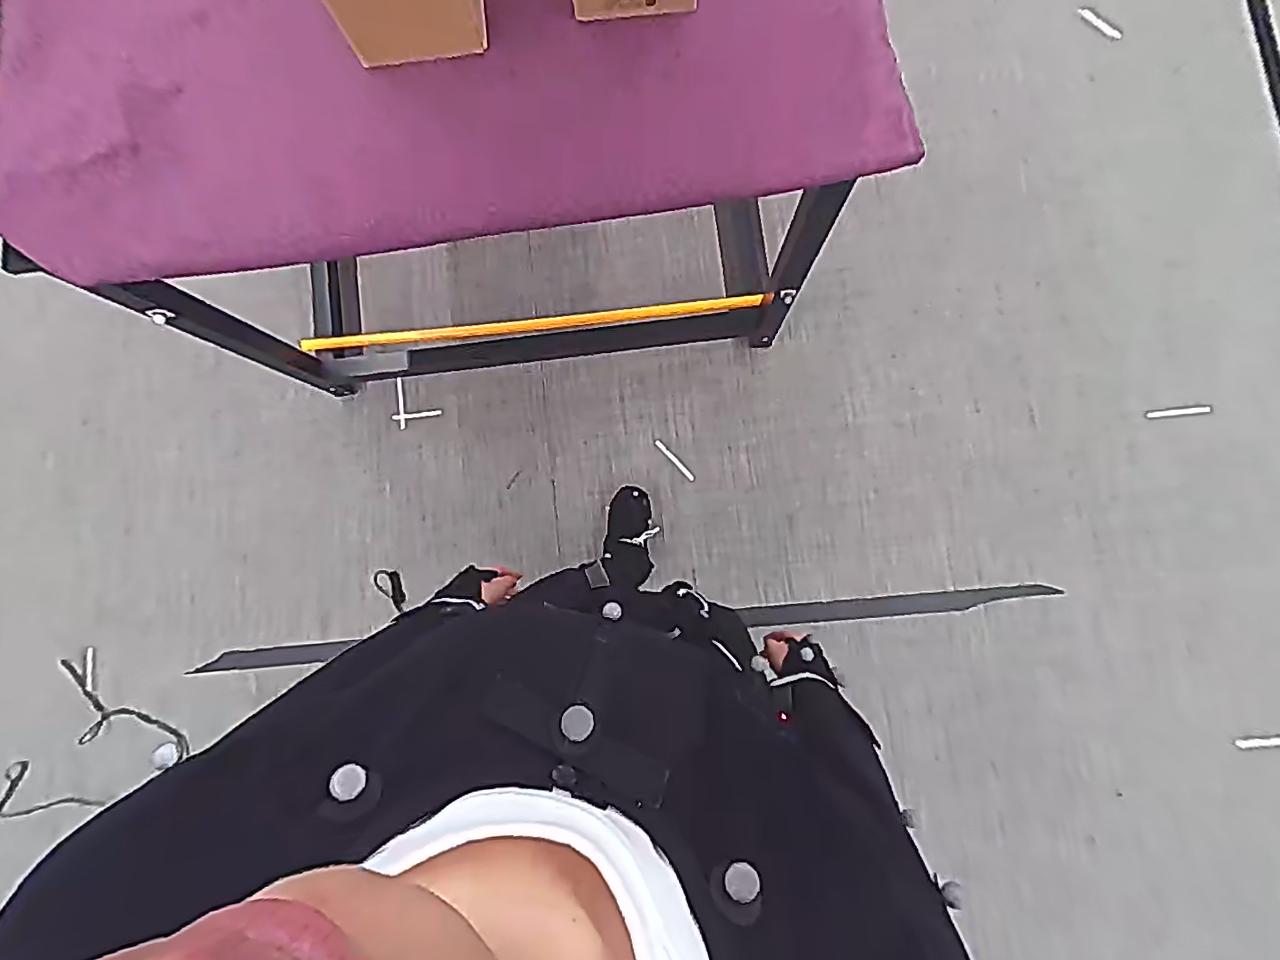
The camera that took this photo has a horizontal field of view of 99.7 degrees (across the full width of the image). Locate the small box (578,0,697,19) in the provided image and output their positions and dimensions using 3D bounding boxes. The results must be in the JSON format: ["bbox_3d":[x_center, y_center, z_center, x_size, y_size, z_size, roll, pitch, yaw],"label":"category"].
[{"bbox_3d":[-0.009,-0.725,0.664,0.168,0.176,0.179,-3,84,2],"label":"small box"}]

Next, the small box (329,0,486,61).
[{"bbox_3d":[-0.307,-0.667,0.673,0.179,0.176,0.168,-6,83,1],"label":"small box"}]
